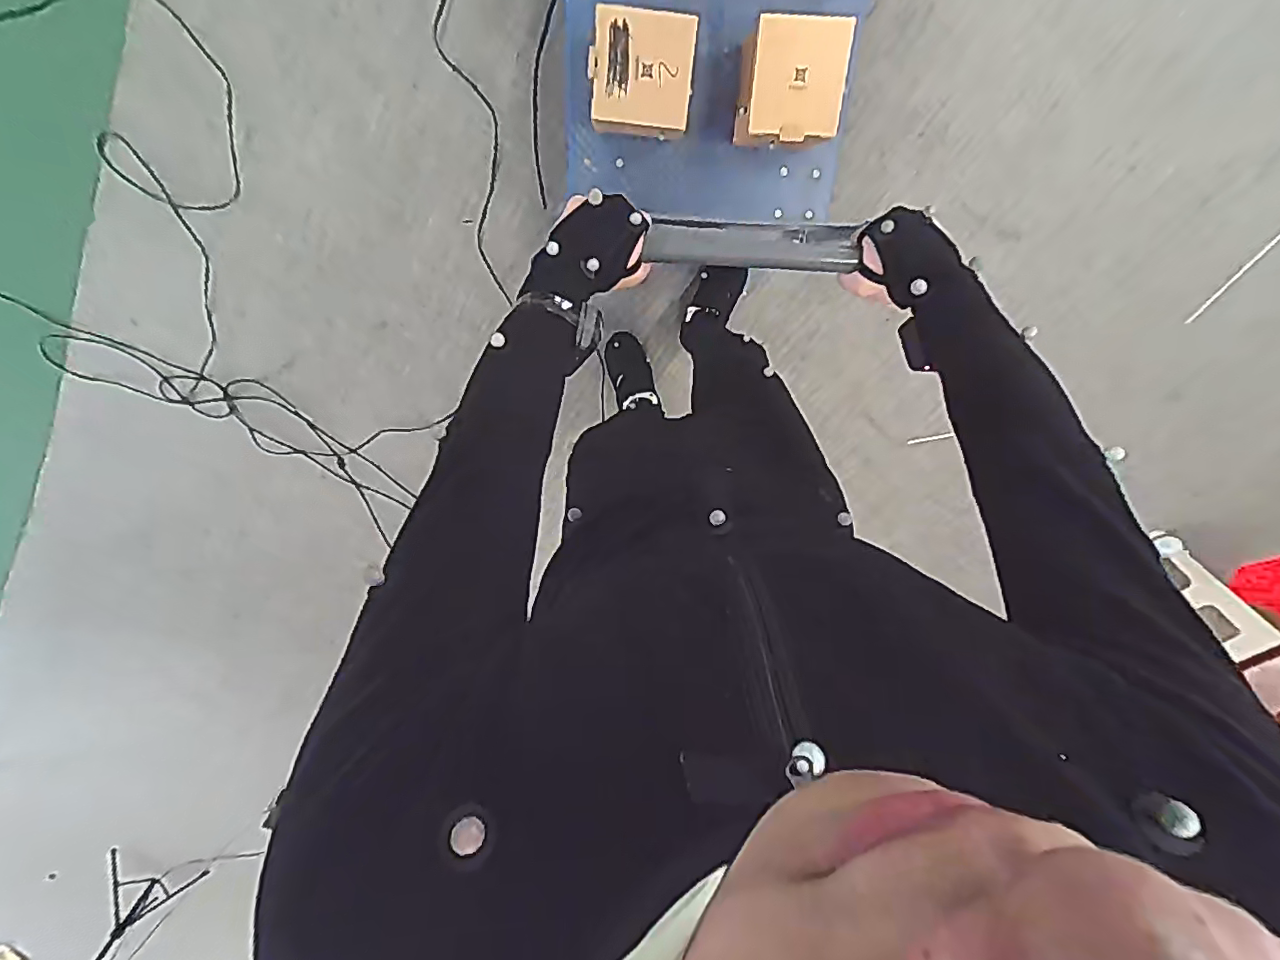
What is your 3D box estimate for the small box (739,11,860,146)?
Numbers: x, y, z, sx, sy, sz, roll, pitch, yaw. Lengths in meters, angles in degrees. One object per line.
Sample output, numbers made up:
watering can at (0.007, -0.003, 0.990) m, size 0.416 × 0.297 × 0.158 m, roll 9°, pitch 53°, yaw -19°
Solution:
small box at (0.287, -0.741, 1.016) m, size 0.168 × 0.176 × 0.179 m, roll 2°, pitch 118°, yaw -1°
